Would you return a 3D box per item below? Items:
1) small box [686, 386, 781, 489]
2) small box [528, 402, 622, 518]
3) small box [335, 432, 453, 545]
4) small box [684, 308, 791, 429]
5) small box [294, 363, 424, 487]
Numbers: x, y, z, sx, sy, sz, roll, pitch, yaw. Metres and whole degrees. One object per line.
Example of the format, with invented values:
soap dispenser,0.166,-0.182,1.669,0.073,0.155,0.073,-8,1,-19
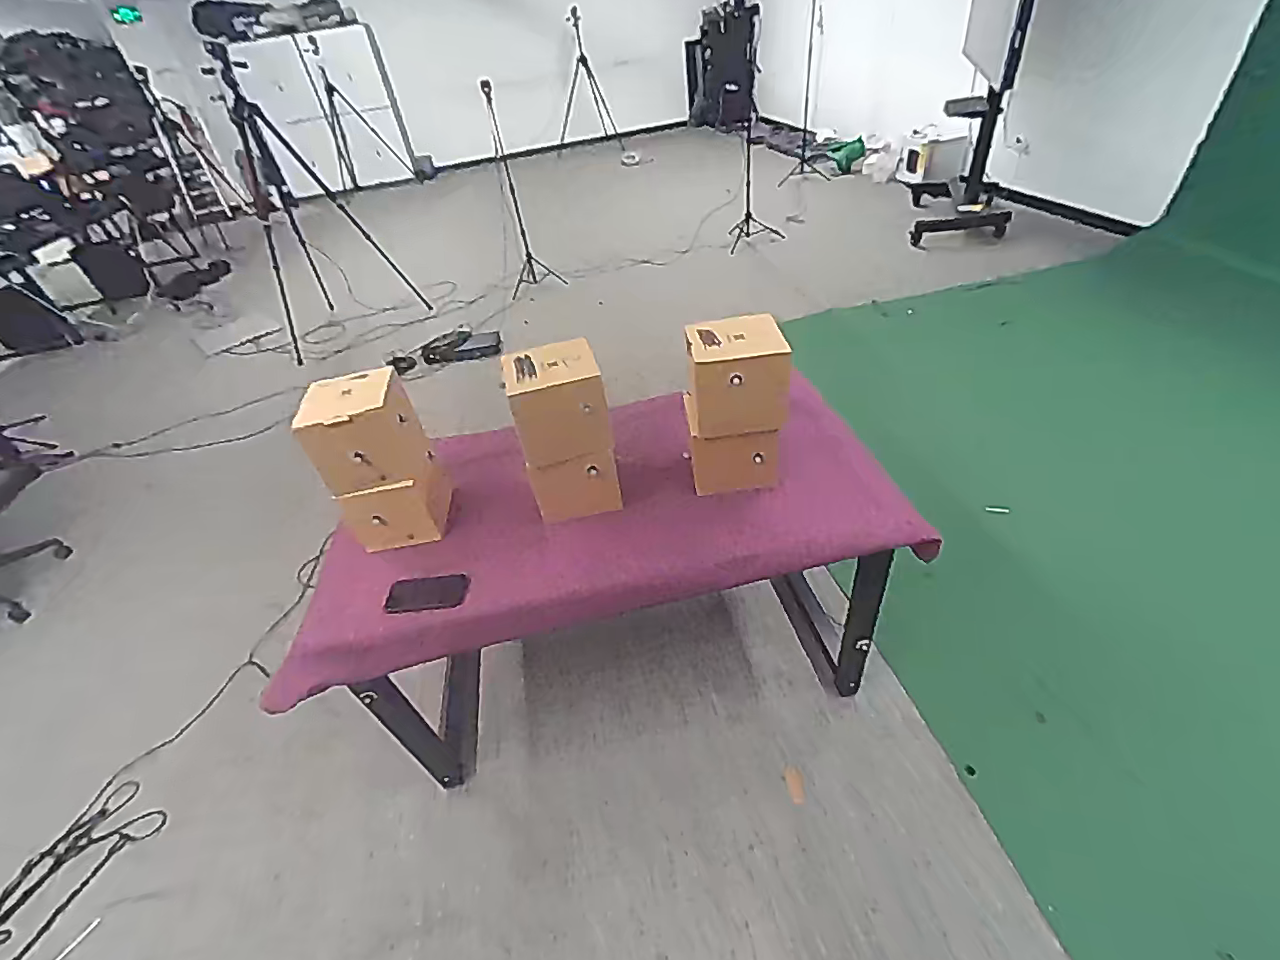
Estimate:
small box,0.198,-0.099,1.174,0.179,0.176,0.168,-8,40,3
small box,-0.137,-0.042,1.175,0.179,0.176,0.168,-11,40,-1
small box,-0.523,0.024,1.181,0.168,0.176,0.179,-11,40,-1
small box,0.187,-0.214,1.057,0.179,0.176,0.168,-7,40,3
small box,-0.547,-0.104,1.081,0.168,0.176,0.179,-14,41,-5
